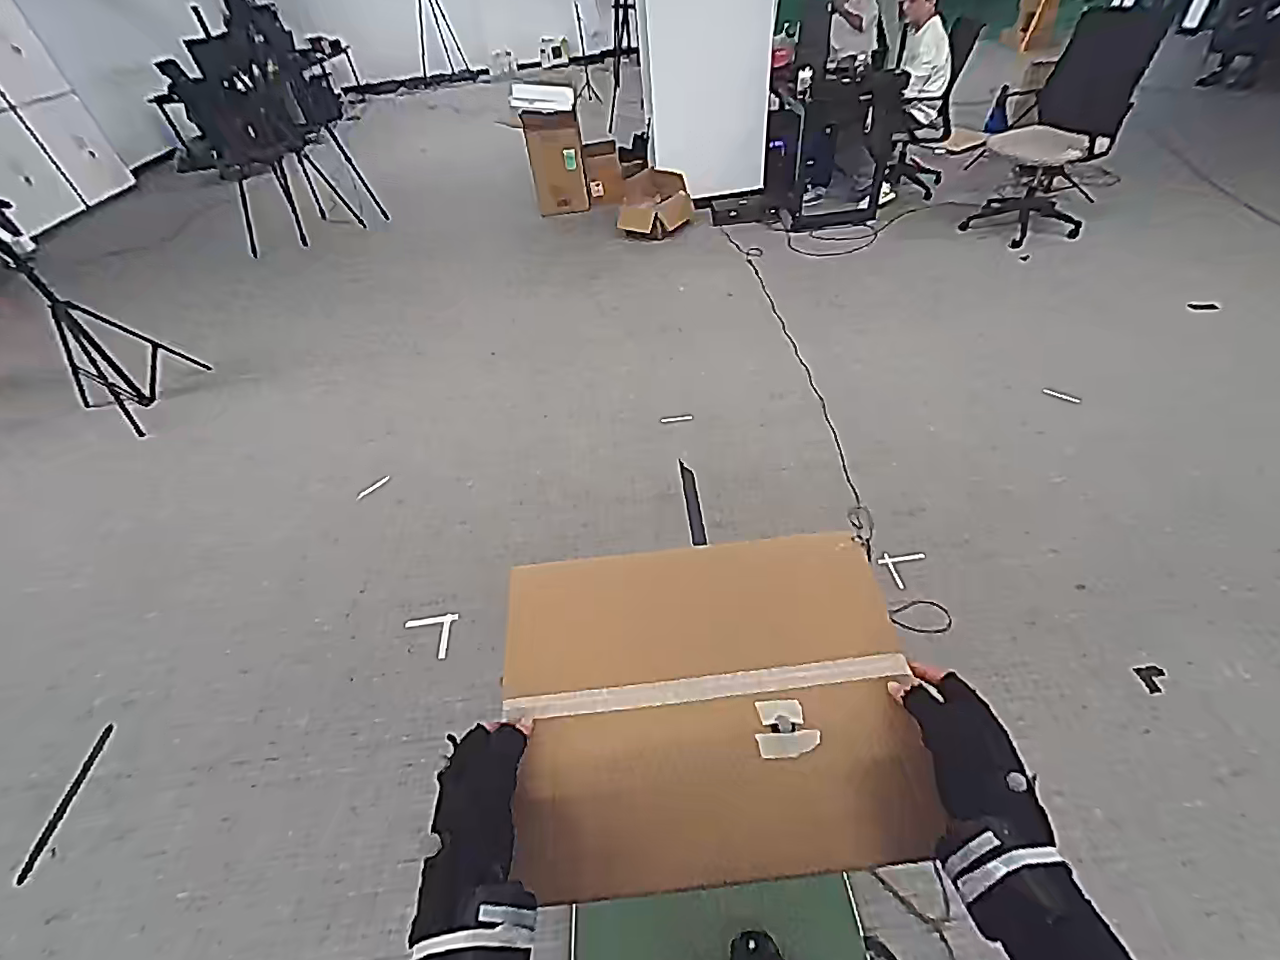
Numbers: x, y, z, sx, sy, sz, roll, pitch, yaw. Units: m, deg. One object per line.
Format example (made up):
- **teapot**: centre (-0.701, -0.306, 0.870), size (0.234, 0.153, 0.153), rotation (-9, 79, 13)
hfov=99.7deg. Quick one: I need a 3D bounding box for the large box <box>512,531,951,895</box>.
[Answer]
- **large box**: centre (0.071, 0.295, 0.681), size (0.408, 0.320, 0.320), rotation (-7, 56, -2)
